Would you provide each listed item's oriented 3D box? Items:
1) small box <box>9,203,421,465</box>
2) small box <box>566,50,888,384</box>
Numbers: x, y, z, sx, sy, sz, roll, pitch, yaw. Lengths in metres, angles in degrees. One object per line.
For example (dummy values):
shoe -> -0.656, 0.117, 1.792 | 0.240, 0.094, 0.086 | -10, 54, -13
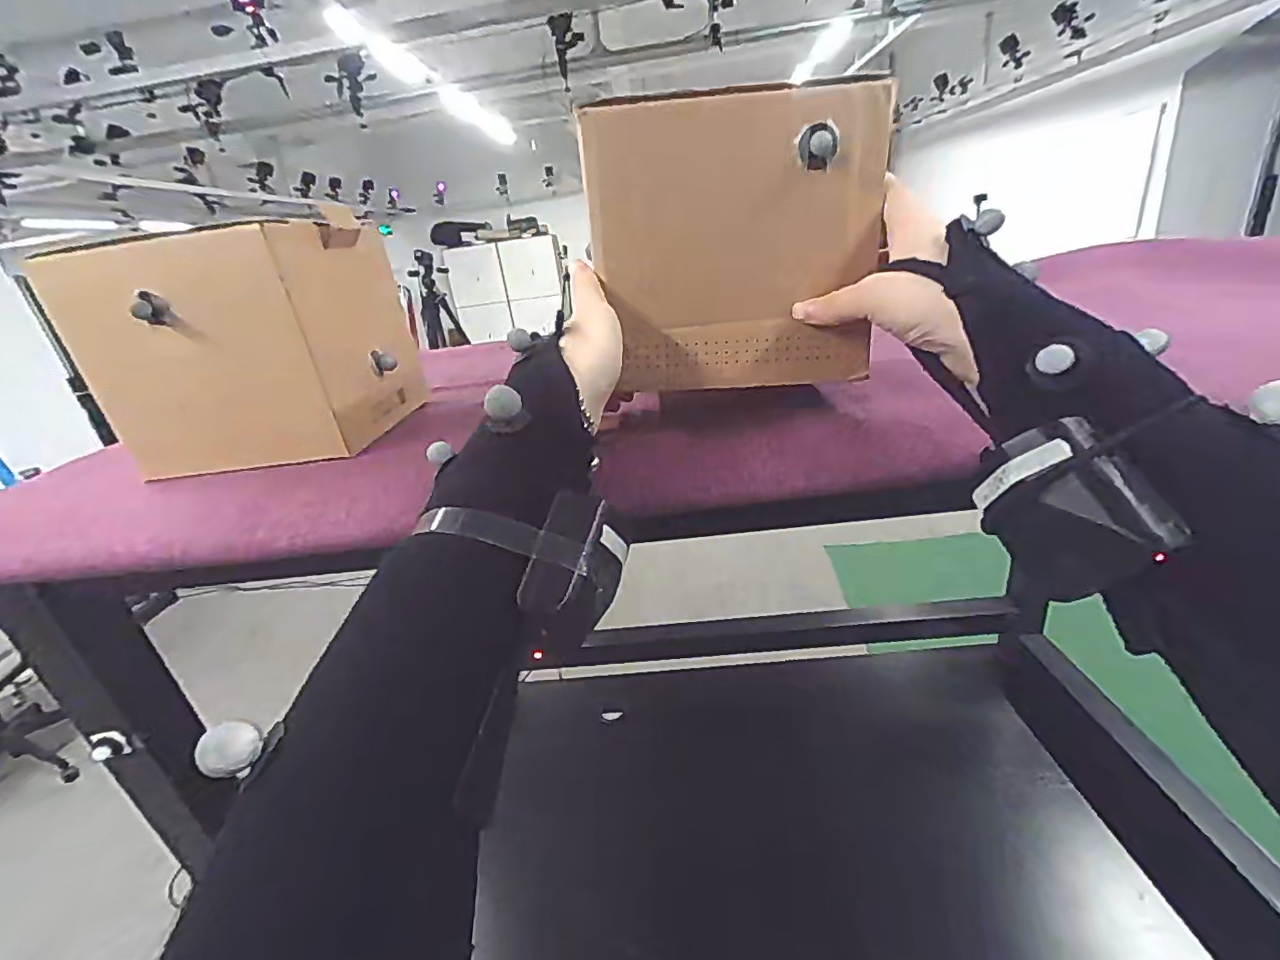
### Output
small box -> -0.315, -0.120, 0.448 | 0.179, 0.176, 0.168 | -6, 25, 4
small box -> 0.057, -0.167, 0.388 | 0.179, 0.176, 0.168 | -2, 21, 5
